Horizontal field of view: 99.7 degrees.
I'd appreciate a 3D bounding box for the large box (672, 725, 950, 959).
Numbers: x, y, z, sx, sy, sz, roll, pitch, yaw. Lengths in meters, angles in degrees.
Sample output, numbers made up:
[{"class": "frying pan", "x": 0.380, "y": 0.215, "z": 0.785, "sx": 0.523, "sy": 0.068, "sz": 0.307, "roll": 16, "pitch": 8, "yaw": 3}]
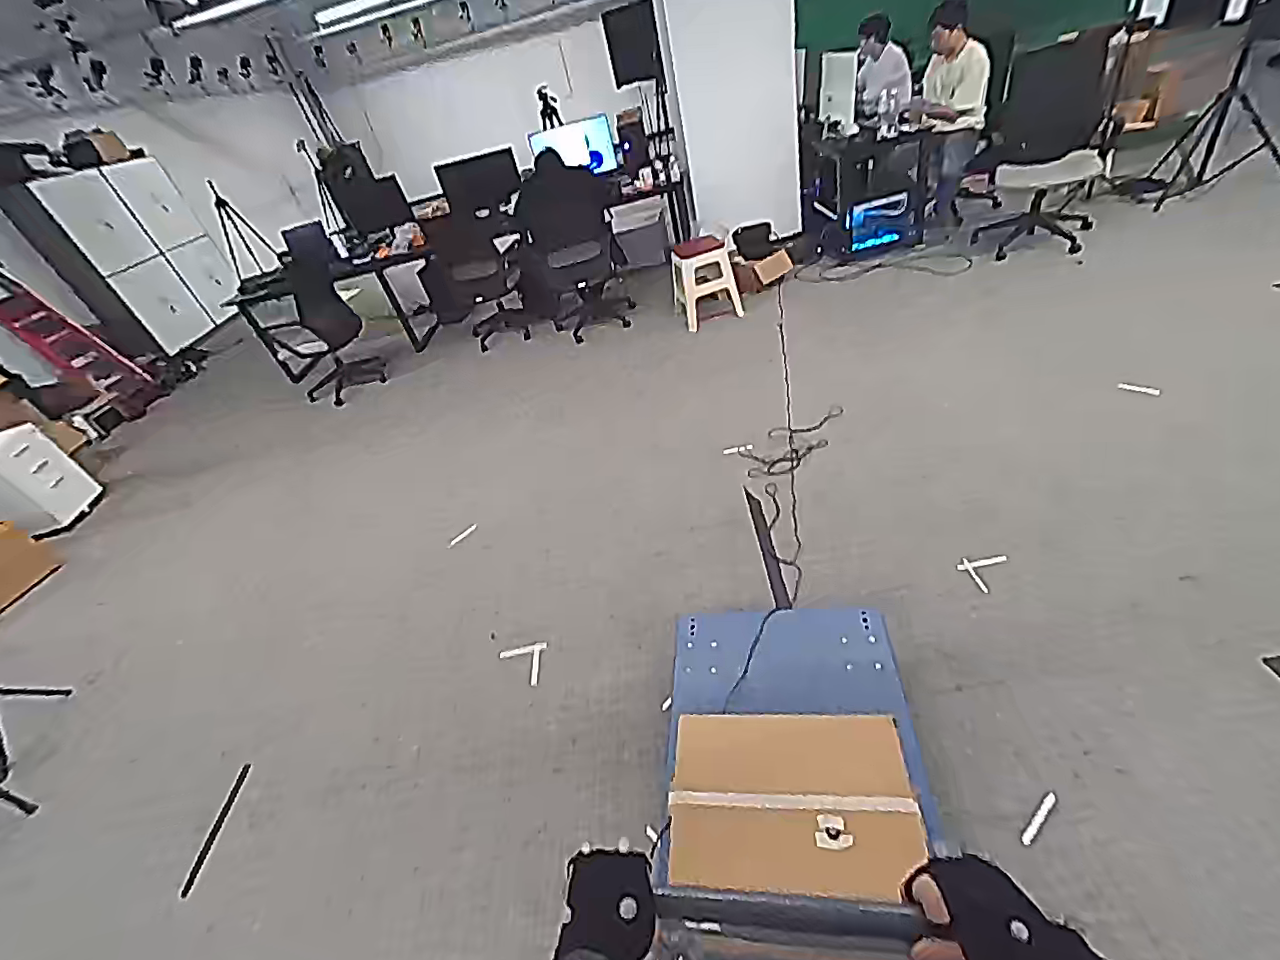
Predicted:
[{"class": "large box", "x": 0.286, "y": 0.675, "z": 0.992, "sx": 0.408, "sy": 0.320, "sz": 0.320, "roll": -5, "pitch": 38, "yaw": 13}]
